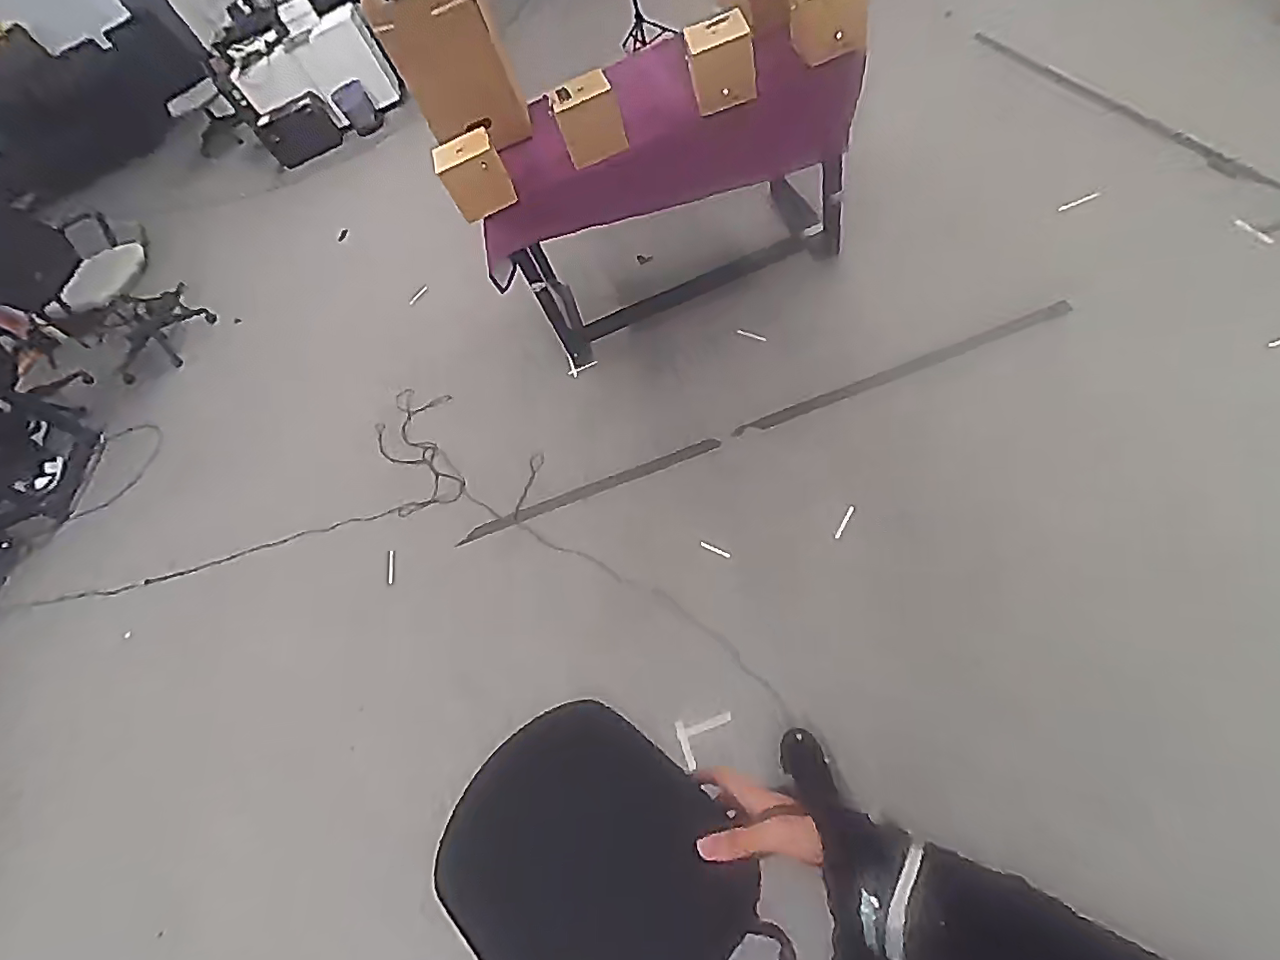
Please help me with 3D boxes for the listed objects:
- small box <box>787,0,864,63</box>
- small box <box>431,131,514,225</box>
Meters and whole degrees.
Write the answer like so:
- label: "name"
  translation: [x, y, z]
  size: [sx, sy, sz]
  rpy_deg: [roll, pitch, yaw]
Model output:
- label: "small box"
  translation: [0.523, -1.335, 1.542]
  size: [0.168, 0.176, 0.179]
  rpy_deg: [-18, 55, 9]
- label: "small box"
  translation: [-0.508, -0.914, 1.648]
  size: [0.179, 0.176, 0.168]
  rpy_deg: [-23, 55, 3]
